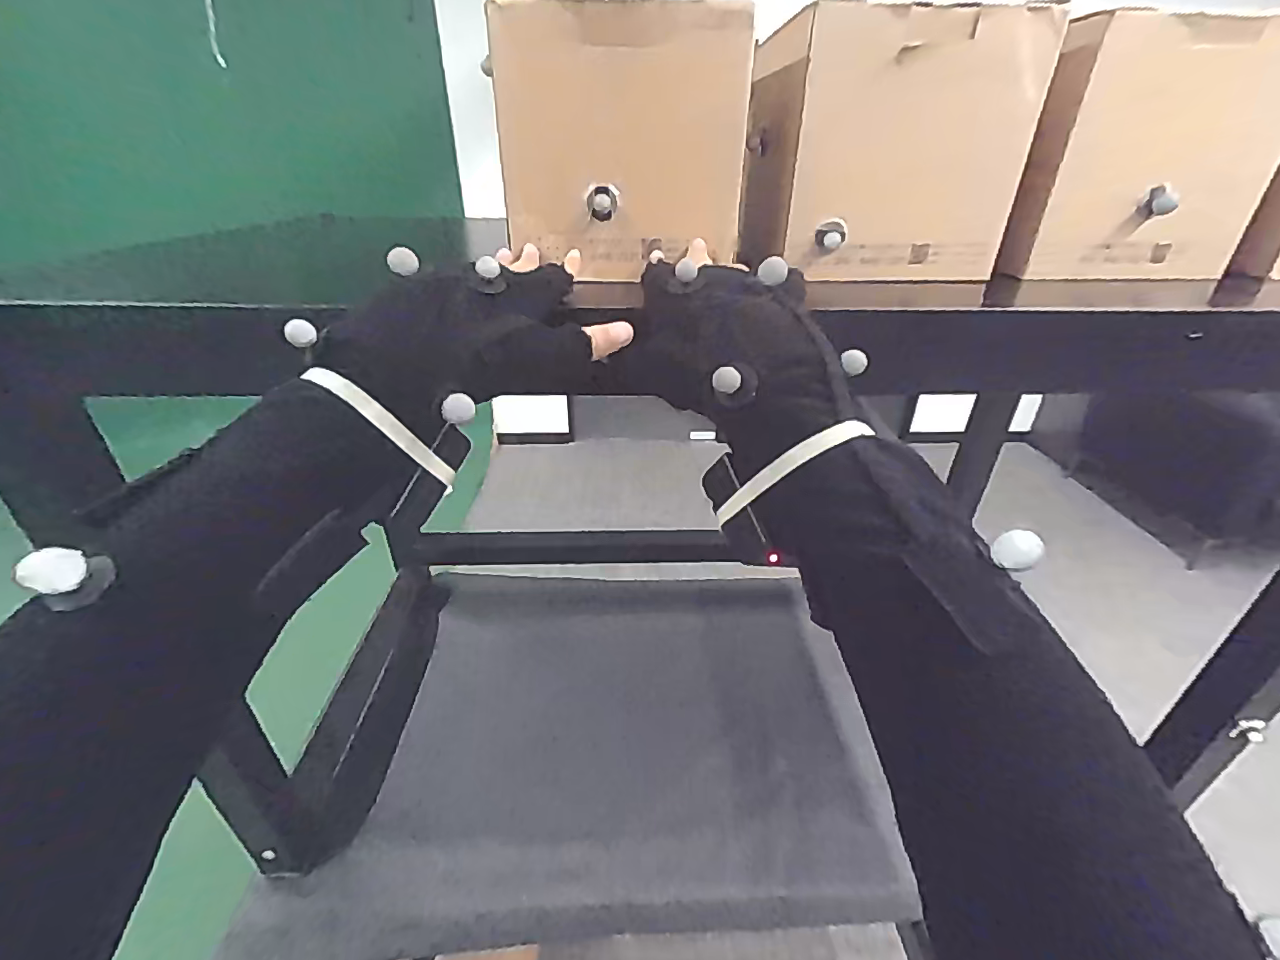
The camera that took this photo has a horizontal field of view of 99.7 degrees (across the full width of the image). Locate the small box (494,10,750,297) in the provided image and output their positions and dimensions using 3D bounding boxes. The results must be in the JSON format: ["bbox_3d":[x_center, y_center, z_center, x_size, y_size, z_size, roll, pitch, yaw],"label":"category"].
[{"bbox_3d":[-0.014,-0.258,0.449,0.168,0.176,0.179,0,30,-1],"label":"small box"}]
